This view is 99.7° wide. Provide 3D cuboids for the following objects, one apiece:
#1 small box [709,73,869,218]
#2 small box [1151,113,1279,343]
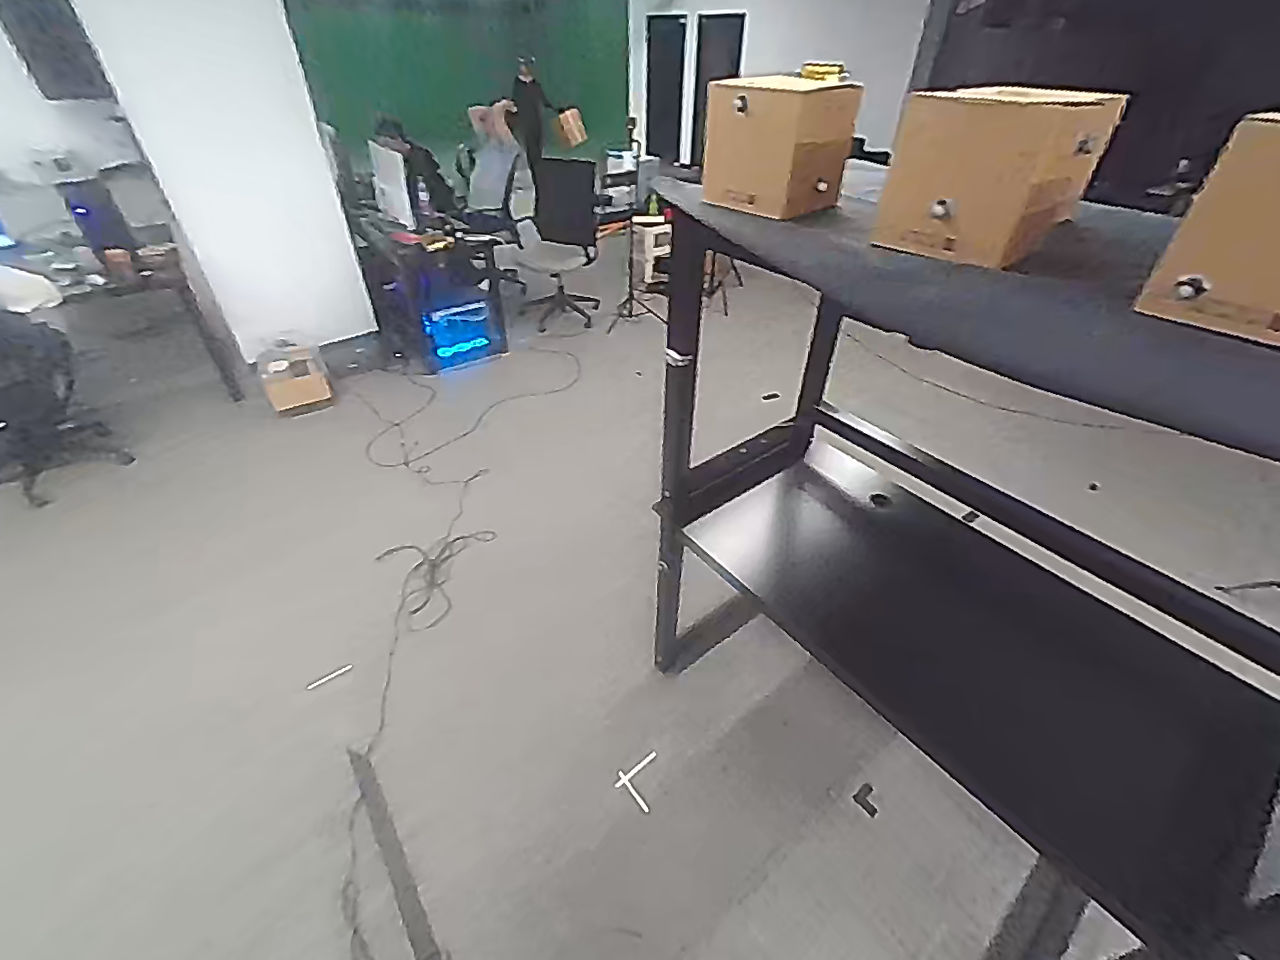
[{"bbox_3d":[0.225,-0.533,0.858,0.179,0.176,0.168,-32,50,-33],"label":"small box"},{"bbox_3d":[0.626,-0.228,0.492,0.179,0.176,0.168,-25,45,-31],"label":"small box"}]
